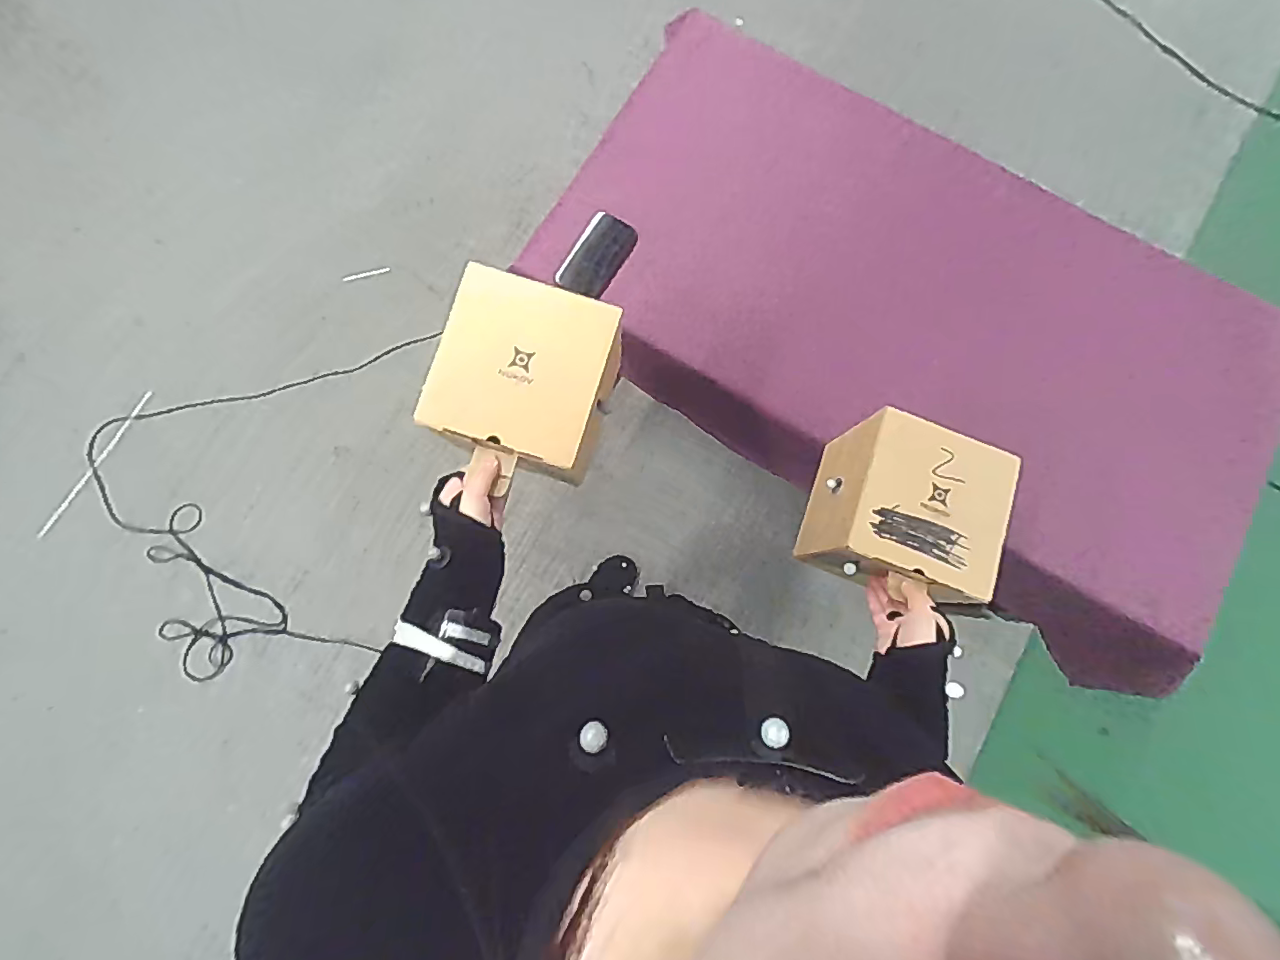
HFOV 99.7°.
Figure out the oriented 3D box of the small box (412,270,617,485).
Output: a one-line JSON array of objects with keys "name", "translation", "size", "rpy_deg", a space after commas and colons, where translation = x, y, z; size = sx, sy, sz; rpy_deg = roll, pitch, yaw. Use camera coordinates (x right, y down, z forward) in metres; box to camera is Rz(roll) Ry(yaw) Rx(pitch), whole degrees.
[{"name": "small box", "translation": [-0.131, -0.103, 0.626], "size": [0.168, 0.176, 0.179], "rpy_deg": [16, 84, -2]}]
